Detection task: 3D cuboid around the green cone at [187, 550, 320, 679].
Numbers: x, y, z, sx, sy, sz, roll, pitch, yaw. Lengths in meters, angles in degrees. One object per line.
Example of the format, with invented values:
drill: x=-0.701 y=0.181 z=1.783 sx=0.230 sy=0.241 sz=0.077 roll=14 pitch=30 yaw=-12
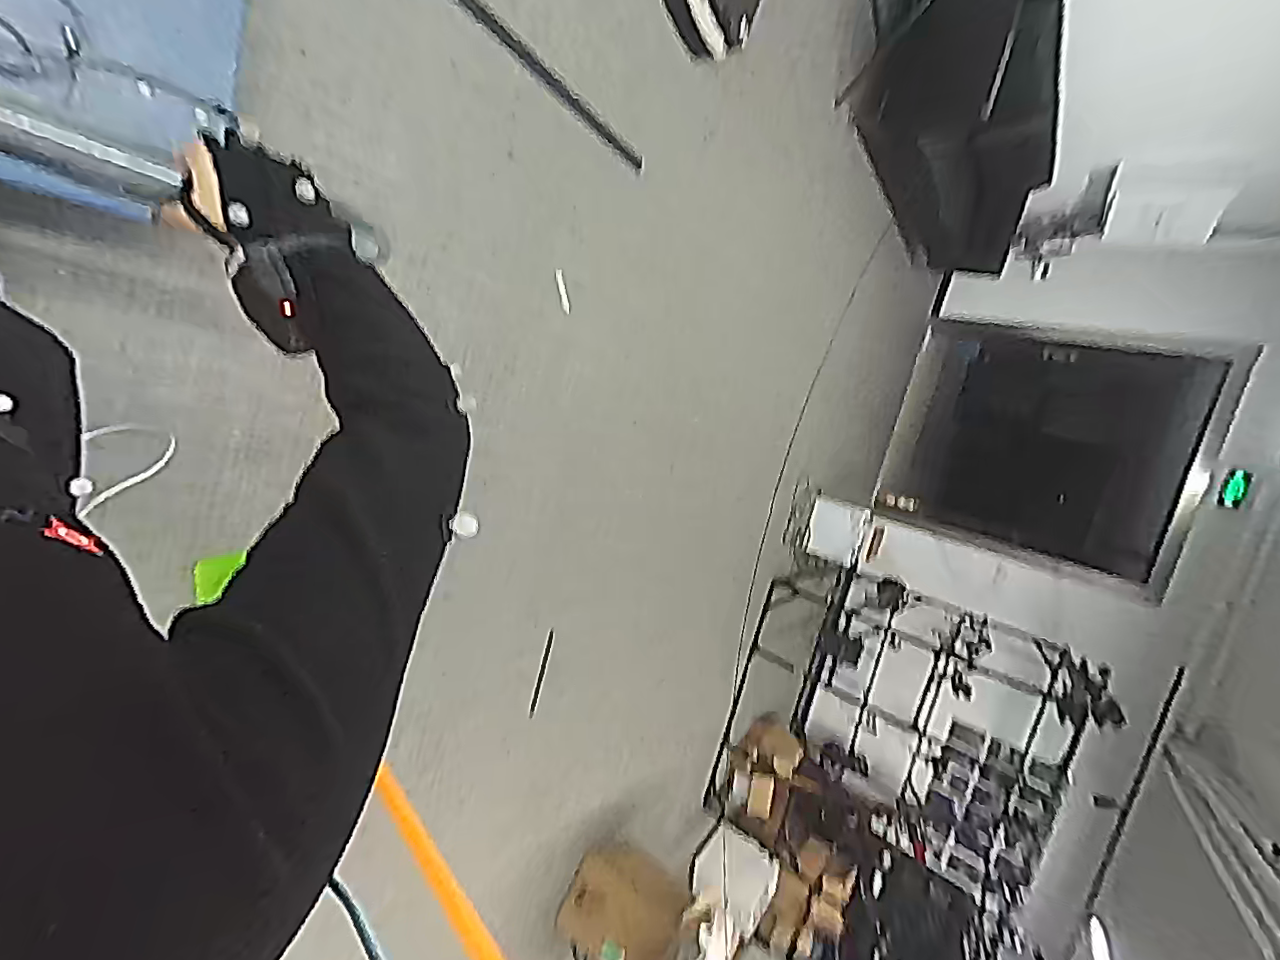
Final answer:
green cone: x=-0.804 y=0.324 z=1.178 sx=0.200 sy=0.368 sz=0.202 roll=-13 pitch=118 yaw=-51
